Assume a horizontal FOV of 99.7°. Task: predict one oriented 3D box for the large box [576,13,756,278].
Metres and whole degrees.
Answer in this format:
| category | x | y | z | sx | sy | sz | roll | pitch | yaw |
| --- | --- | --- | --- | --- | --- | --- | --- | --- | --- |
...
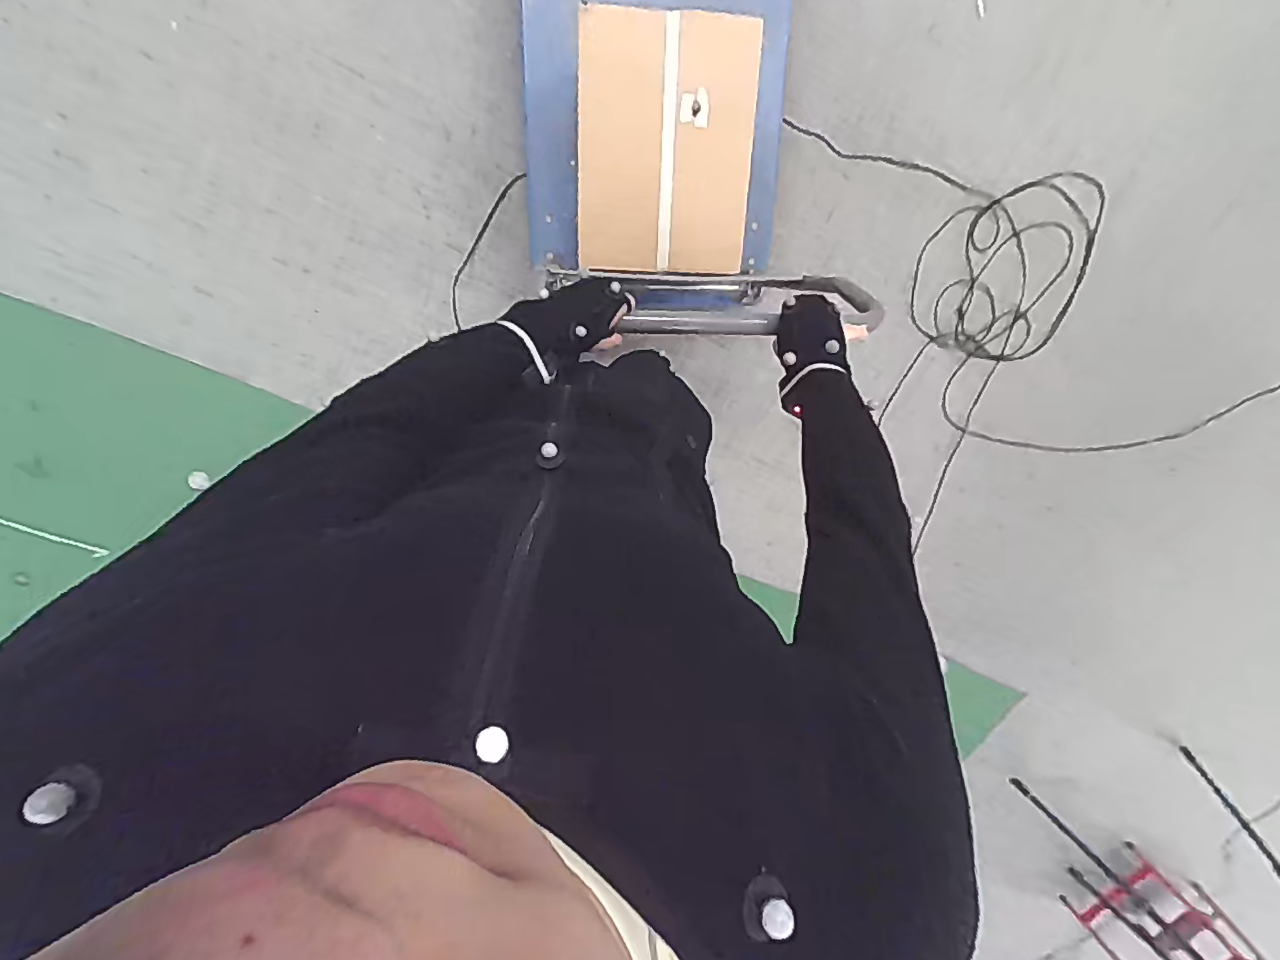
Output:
| category | x | y | z | sx | sy | sz | roll | pitch | yaw |
| --- | --- | --- | --- | --- | --- | --- | --- | --- | --- |
| large box | 0.031 | -0.636 | 1.115 | 0.320 | 0.320 | 0.408 | 0 | 109 | -6 |
